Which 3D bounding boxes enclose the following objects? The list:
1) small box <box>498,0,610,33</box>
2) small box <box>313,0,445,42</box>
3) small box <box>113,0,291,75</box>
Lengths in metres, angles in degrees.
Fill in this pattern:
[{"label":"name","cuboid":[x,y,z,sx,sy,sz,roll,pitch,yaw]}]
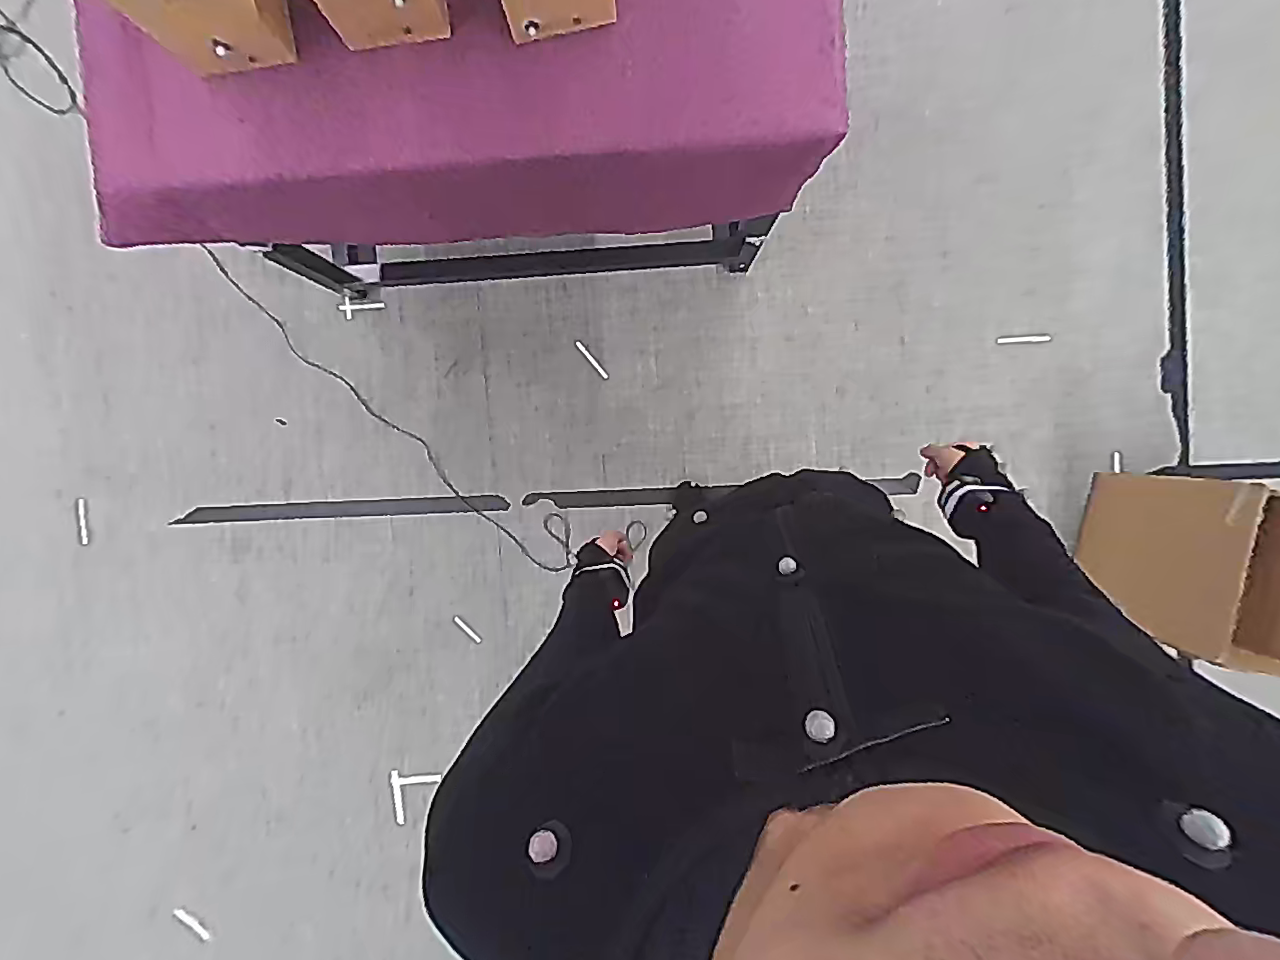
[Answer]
[{"label":"small box","cuboid":[-0.141,-0.784,0.766,0.168,0.176,0.179,-12,92,1]},{"label":"small box","cuboid":[-0.394,-0.770,0.771,0.168,0.176,0.179,-6,93,1]},{"label":"small box","cuboid":[-0.642,-0.733,0.774,0.168,0.176,0.179,-8,93,2]}]
